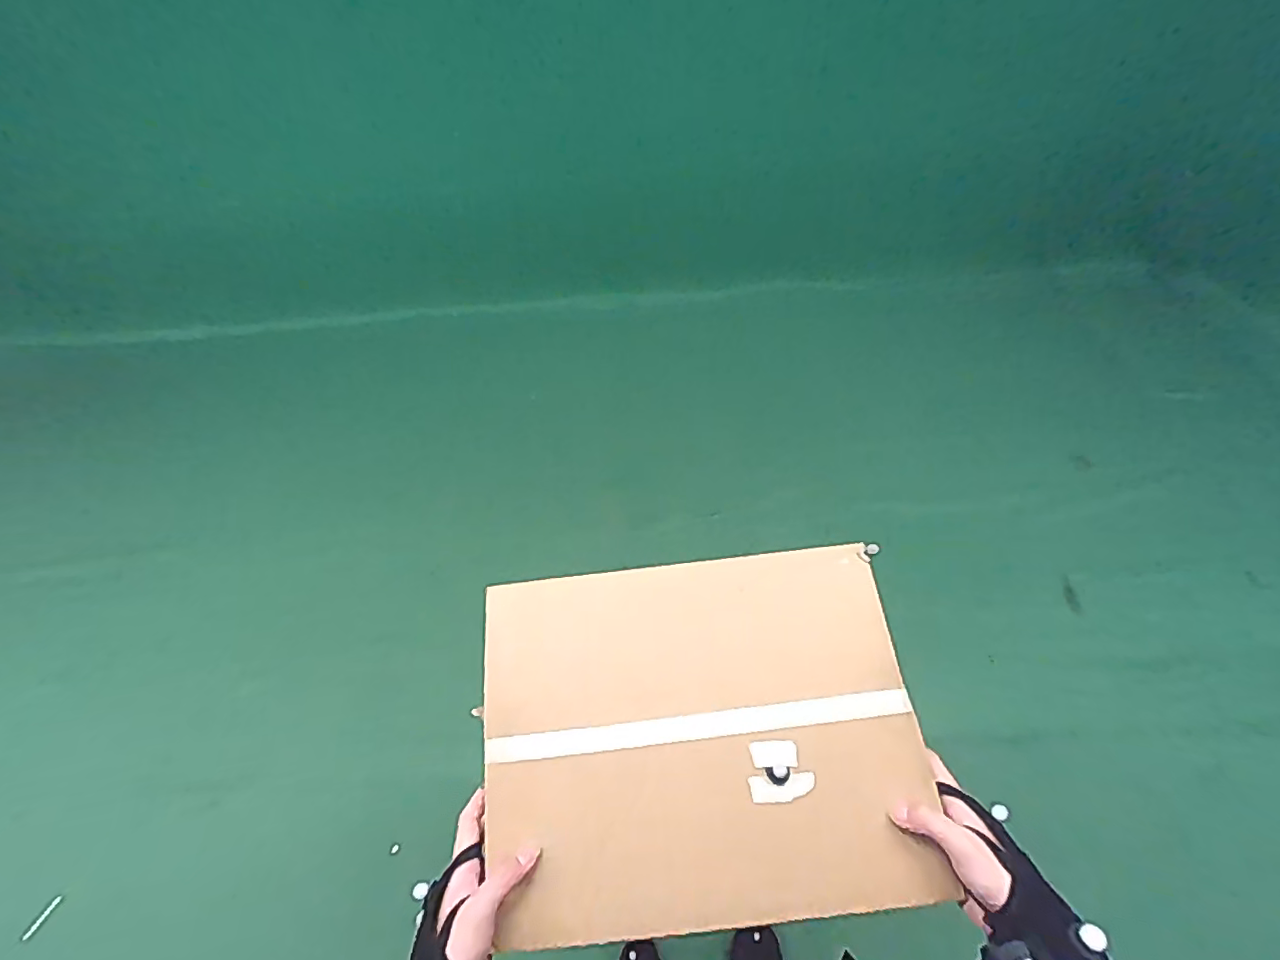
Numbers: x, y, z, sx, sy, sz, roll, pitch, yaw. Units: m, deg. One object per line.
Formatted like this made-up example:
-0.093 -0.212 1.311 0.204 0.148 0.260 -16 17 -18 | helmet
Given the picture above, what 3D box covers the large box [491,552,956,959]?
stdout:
0.061 0.304 0.653 0.408 0.320 0.320 -8 67 -1 | large box
